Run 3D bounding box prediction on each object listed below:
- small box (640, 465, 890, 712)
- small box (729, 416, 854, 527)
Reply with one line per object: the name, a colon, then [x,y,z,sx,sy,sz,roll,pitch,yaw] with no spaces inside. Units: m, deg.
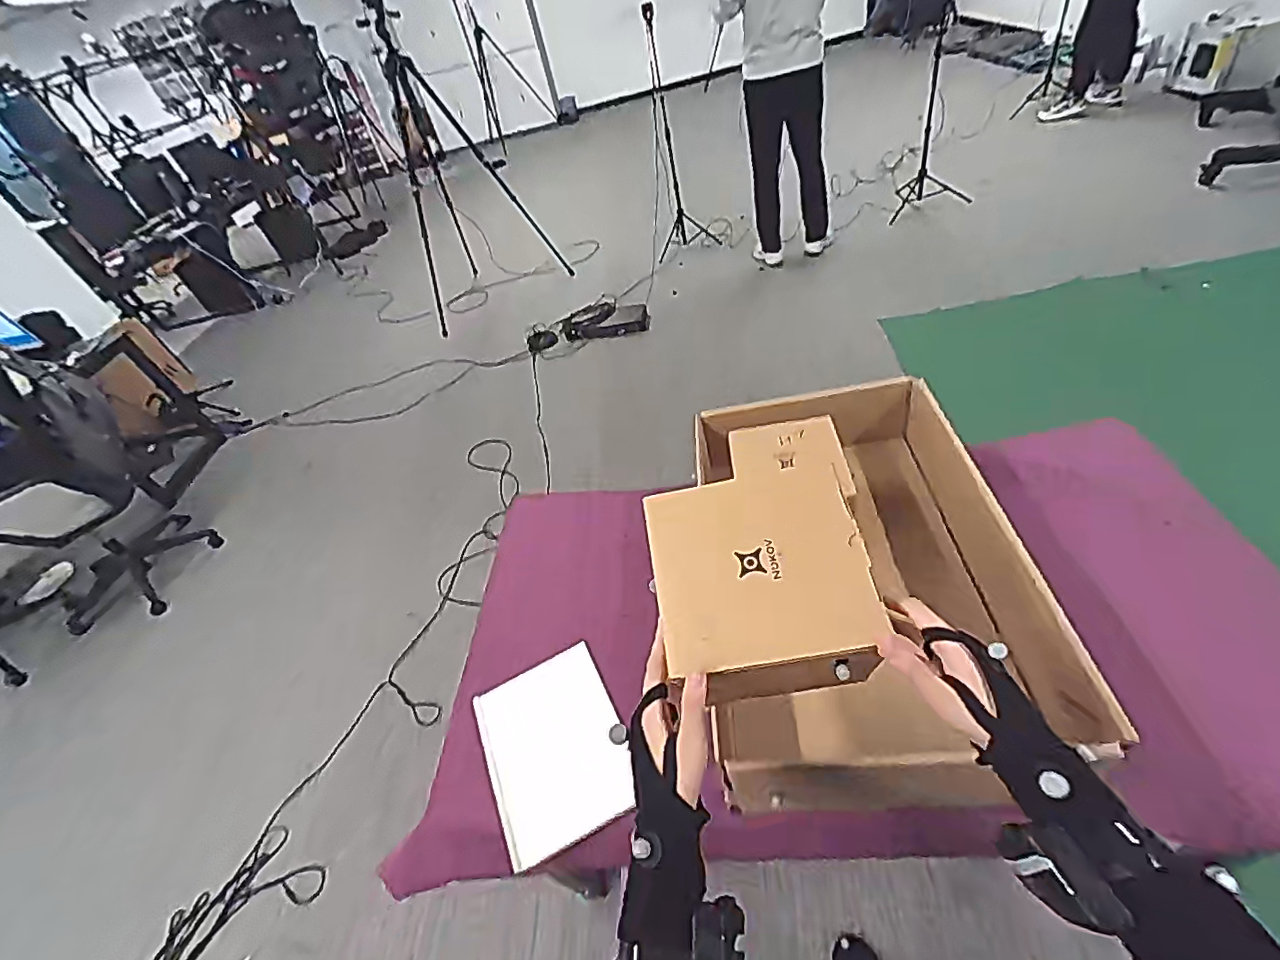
small box: [0.109,0.112,0.513,0.179,0.176,0.168,-12,58,6]
small box: [0.241,0.025,0.874,0.168,0.176,0.179,-8,45,10]
